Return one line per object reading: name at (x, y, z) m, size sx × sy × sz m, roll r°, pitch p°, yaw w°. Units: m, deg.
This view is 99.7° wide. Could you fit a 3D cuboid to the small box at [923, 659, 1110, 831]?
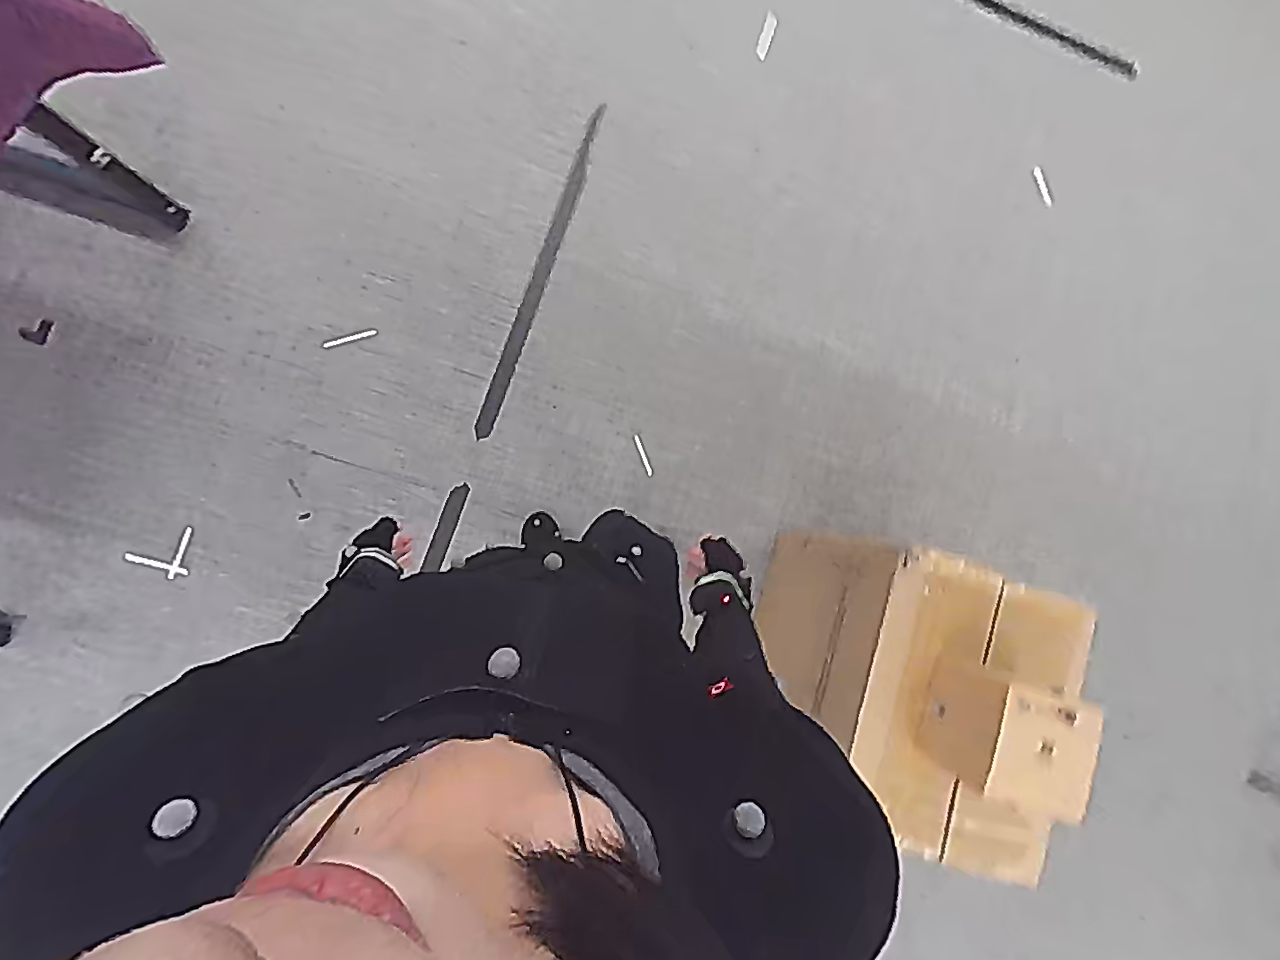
small box at (0.599, 0.419, 0.883) m, size 0.168 × 0.176 × 0.179 m, roll 19°, pitch 85°, yaw -4°
